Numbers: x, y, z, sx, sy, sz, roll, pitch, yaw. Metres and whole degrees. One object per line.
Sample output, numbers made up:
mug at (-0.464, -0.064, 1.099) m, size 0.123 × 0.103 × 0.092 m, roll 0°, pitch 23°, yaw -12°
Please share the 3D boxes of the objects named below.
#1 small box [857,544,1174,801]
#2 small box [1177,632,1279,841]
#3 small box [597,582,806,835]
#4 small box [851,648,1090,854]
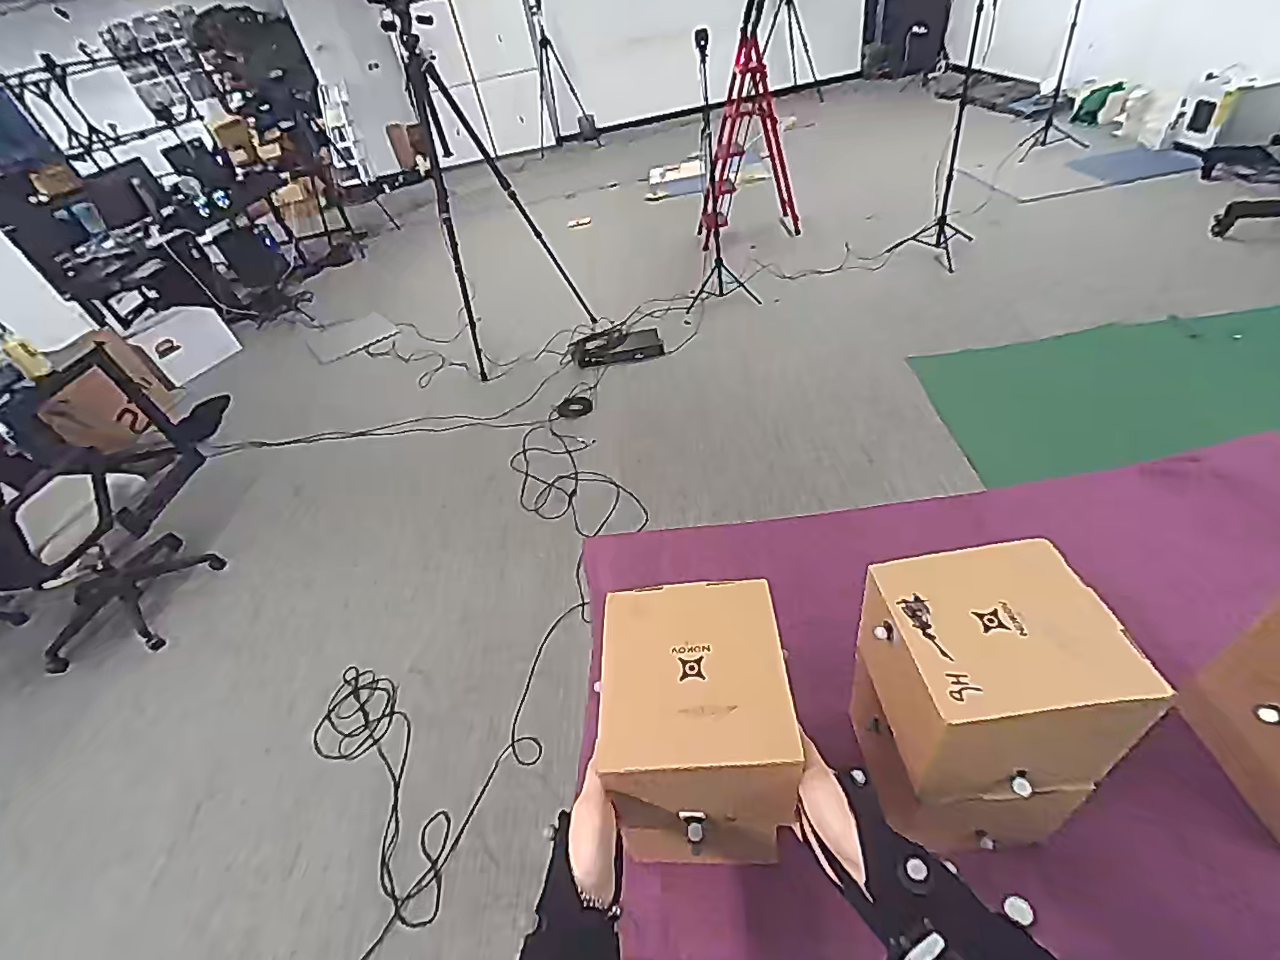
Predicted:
small box at (0.332, 0.188, 0.528) m, size 0.179 × 0.176 × 0.168 m, roll -9°, pitch 39°, yaw 4°
small box at (0.750, 0.275, 0.576) m, size 0.168 × 0.176 × 0.179 m, roll -8°, pitch 42°, yaw 6°
small box at (0.057, 0.225, 0.534) m, size 0.168 × 0.176 × 0.179 m, roll -6°, pitch 43°, yaw 5°
small box at (0.361, 0.309, 0.637) m, size 0.168 × 0.176 × 0.179 m, roll -9°, pitch 41°, yaw 5°
